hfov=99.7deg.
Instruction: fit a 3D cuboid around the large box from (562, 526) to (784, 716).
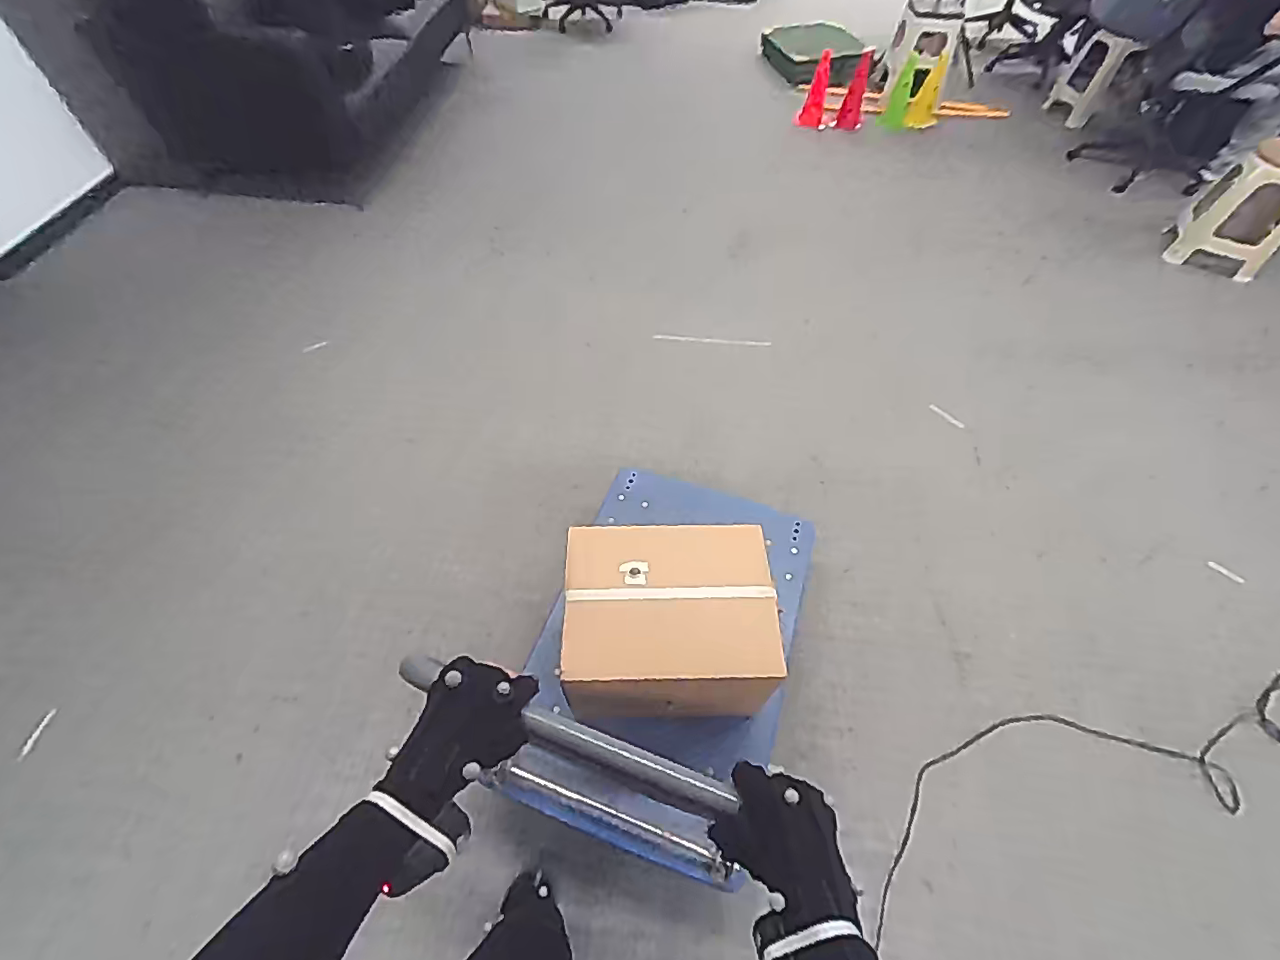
[{"bbox_3d":[0.057,0.312,1.164,0.408,0.320,0.320,-1,54,-1],"label":"large box"}]
